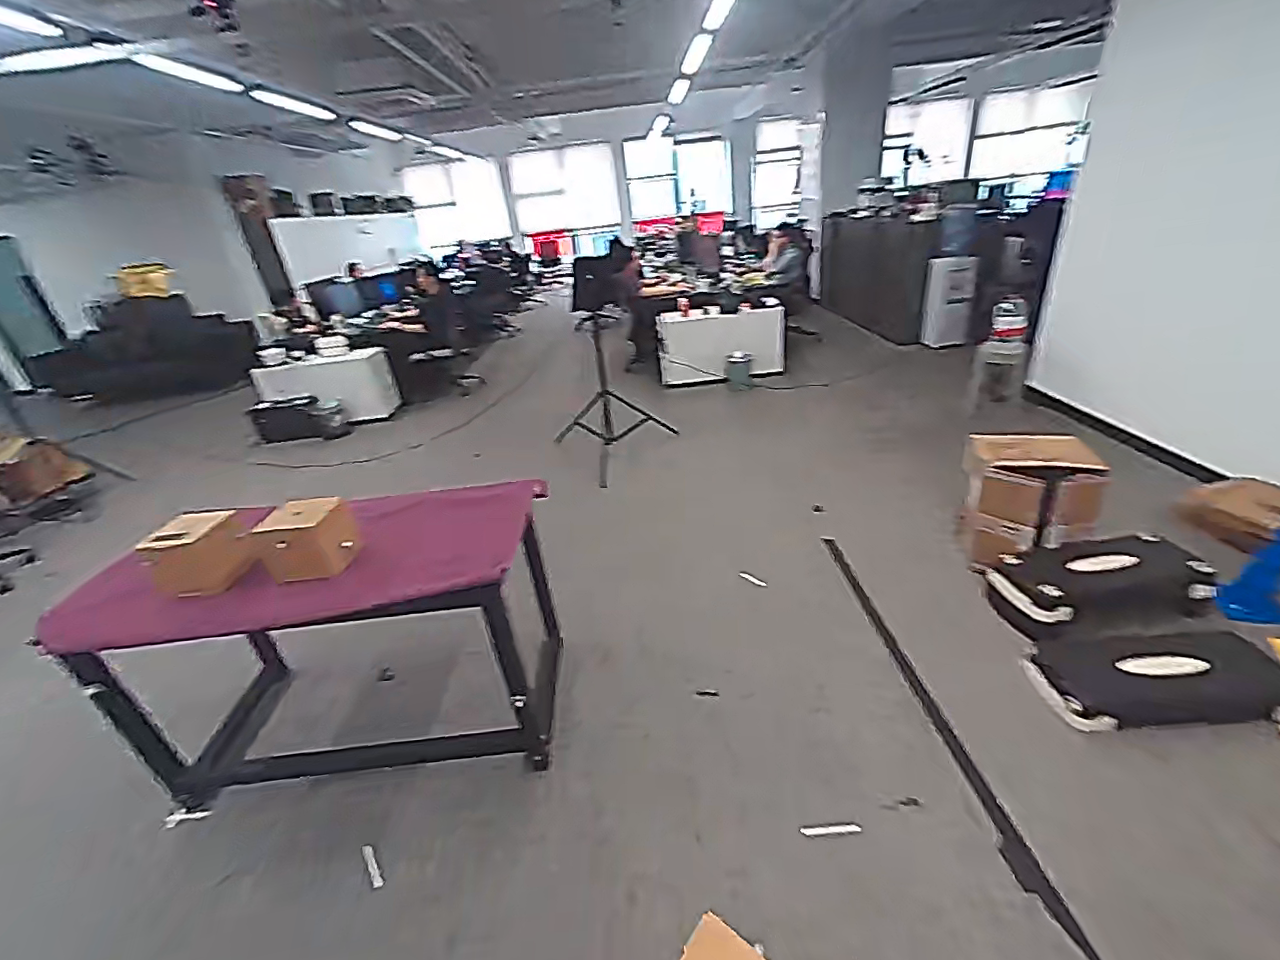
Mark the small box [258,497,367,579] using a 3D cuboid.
[{"bbox_3d":[-0.913,0.166,1.526,0.179,0.176,0.168,-5,27,4],"label":"small box"}]
